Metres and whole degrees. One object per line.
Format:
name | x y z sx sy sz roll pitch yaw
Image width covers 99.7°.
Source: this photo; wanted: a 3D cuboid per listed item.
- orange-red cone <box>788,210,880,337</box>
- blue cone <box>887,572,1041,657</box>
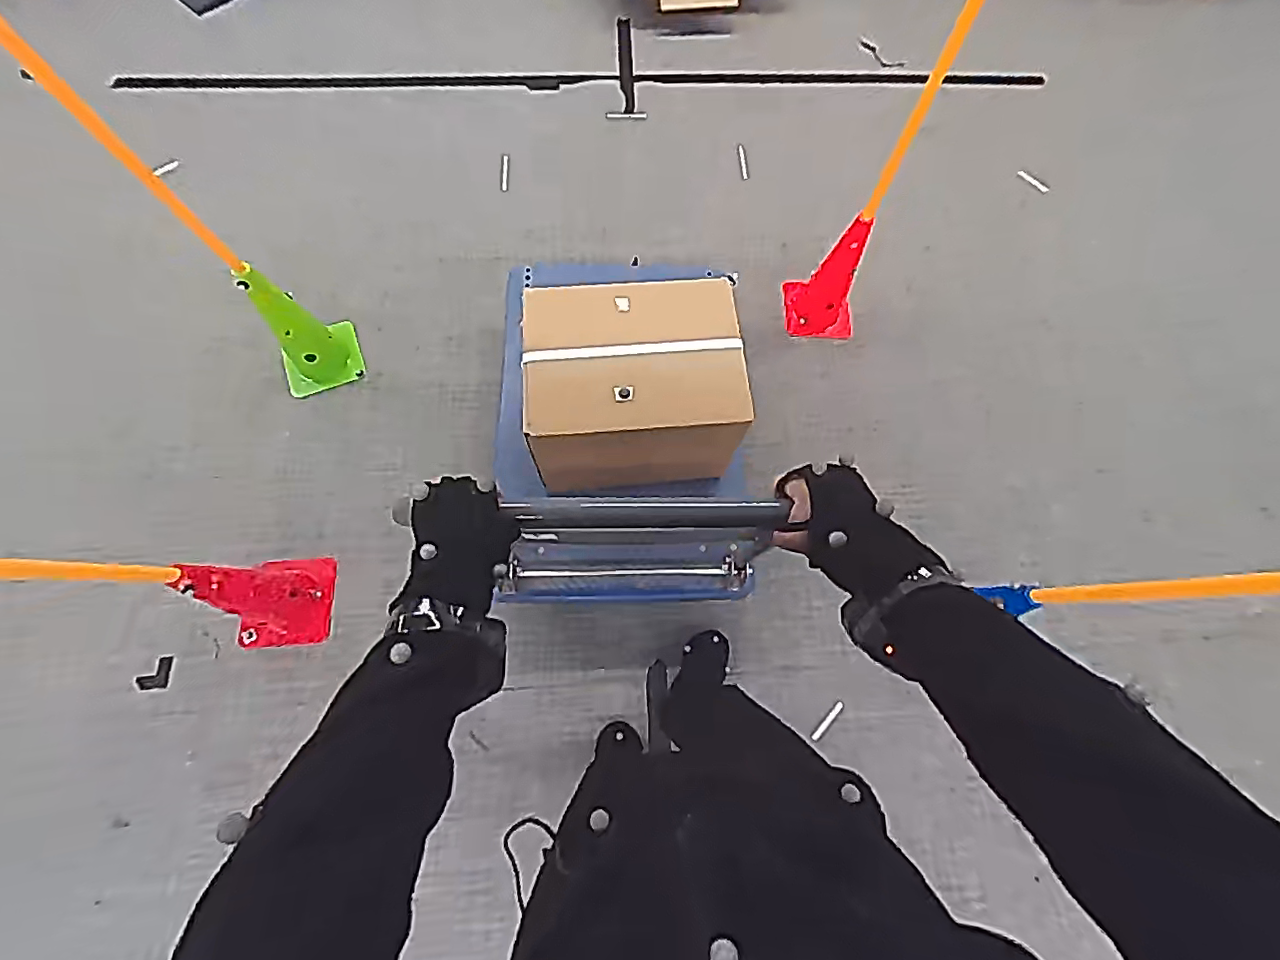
orange-red cone | 0.552 -0.577 1.462 0.199 0.360 0.198 4 70 -2
blue cone | 0.726 0.270 1.176 0.193 0.380 0.192 -6 69 -5
